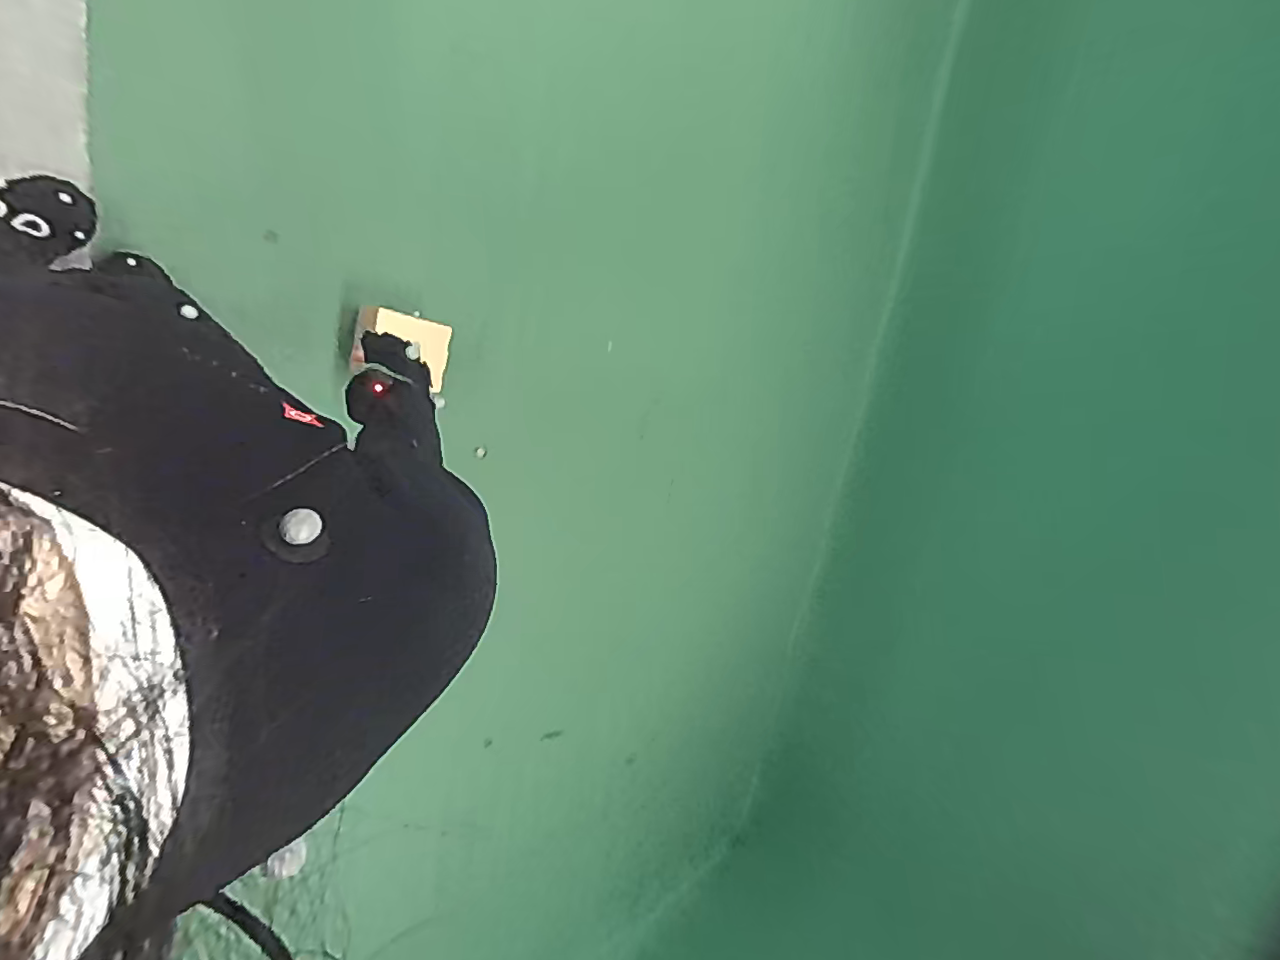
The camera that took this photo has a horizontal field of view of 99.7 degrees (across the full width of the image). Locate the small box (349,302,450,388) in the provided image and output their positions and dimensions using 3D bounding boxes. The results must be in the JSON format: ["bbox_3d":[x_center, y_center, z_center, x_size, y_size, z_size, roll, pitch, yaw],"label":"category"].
[{"bbox_3d":[-0.600,-0.335,1.338,0.179,0.176,0.168,6,102,-44],"label":"small box"}]
